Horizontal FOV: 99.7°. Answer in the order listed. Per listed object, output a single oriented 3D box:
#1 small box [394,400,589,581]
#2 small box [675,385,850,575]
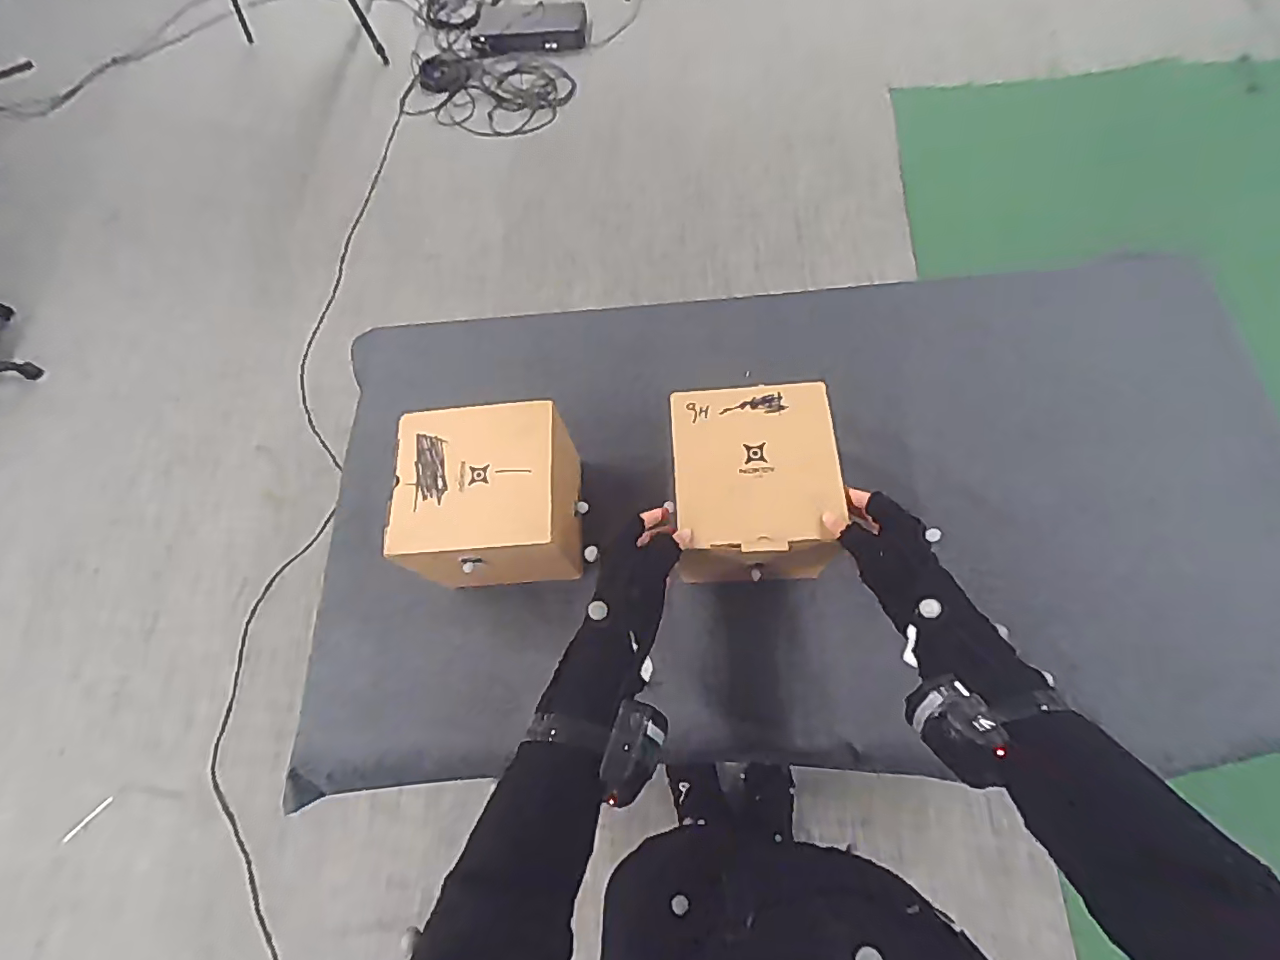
[{"bbox_3d":[-0.163,0.023,0.652,0.179,0.176,0.168,-4,68,4],"label":"small box"},{"bbox_3d":[0.129,0.011,0.626,0.168,0.176,0.179,-3,69,5],"label":"small box"}]
